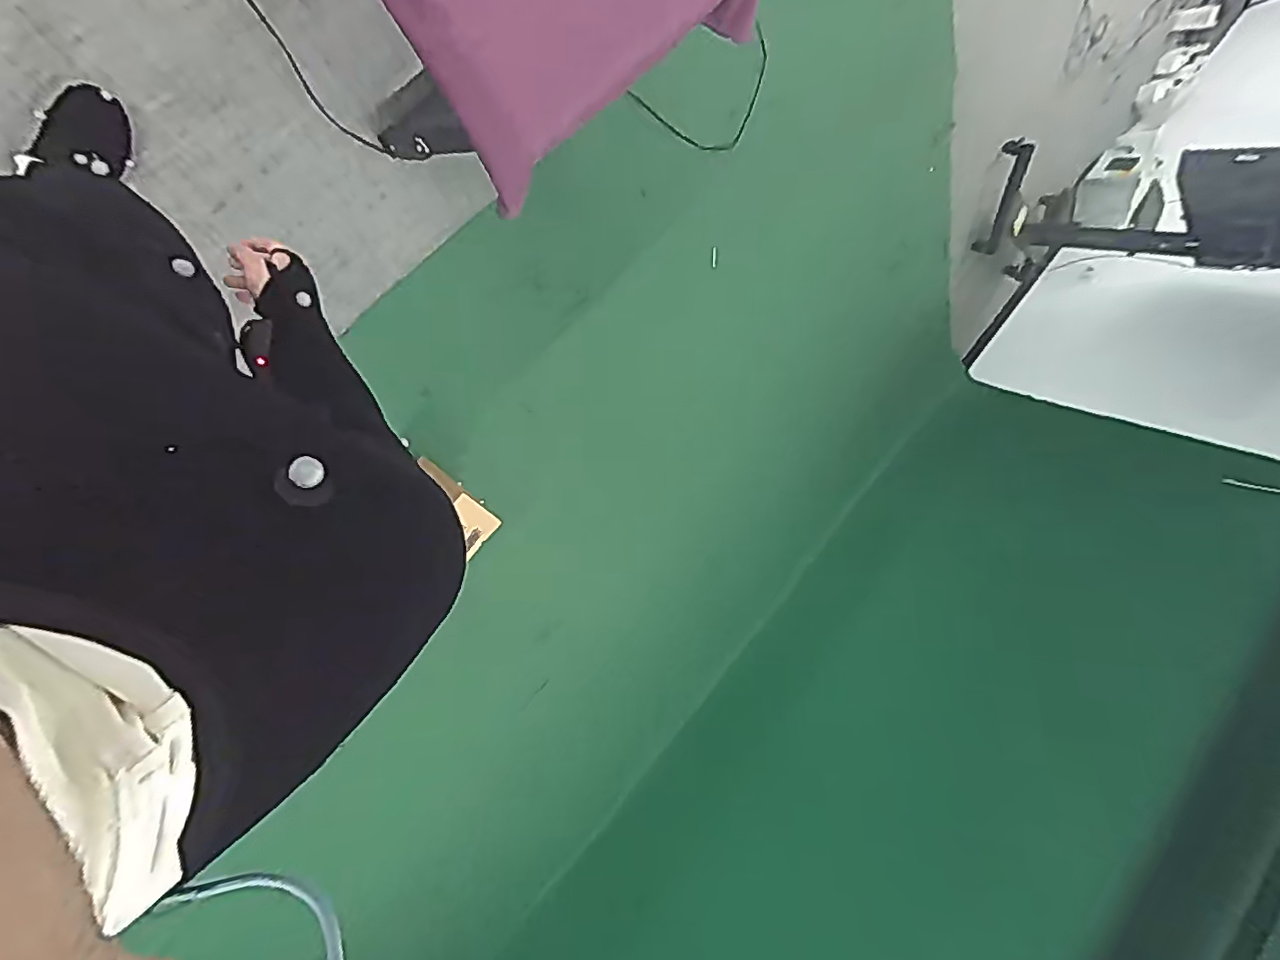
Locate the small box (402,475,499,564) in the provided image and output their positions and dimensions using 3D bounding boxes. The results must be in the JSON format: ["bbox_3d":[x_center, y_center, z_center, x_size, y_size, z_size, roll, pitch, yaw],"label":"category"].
[{"bbox_3d":[-0.556,0.111,1.583,0.168,0.176,0.179,-50,136,-10],"label":"small box"}]

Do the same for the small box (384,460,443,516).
[{"bbox_3d":[-0.664,0.057,1.696,0.168,0.176,0.179,-48,138,-12],"label":"small box"}]
